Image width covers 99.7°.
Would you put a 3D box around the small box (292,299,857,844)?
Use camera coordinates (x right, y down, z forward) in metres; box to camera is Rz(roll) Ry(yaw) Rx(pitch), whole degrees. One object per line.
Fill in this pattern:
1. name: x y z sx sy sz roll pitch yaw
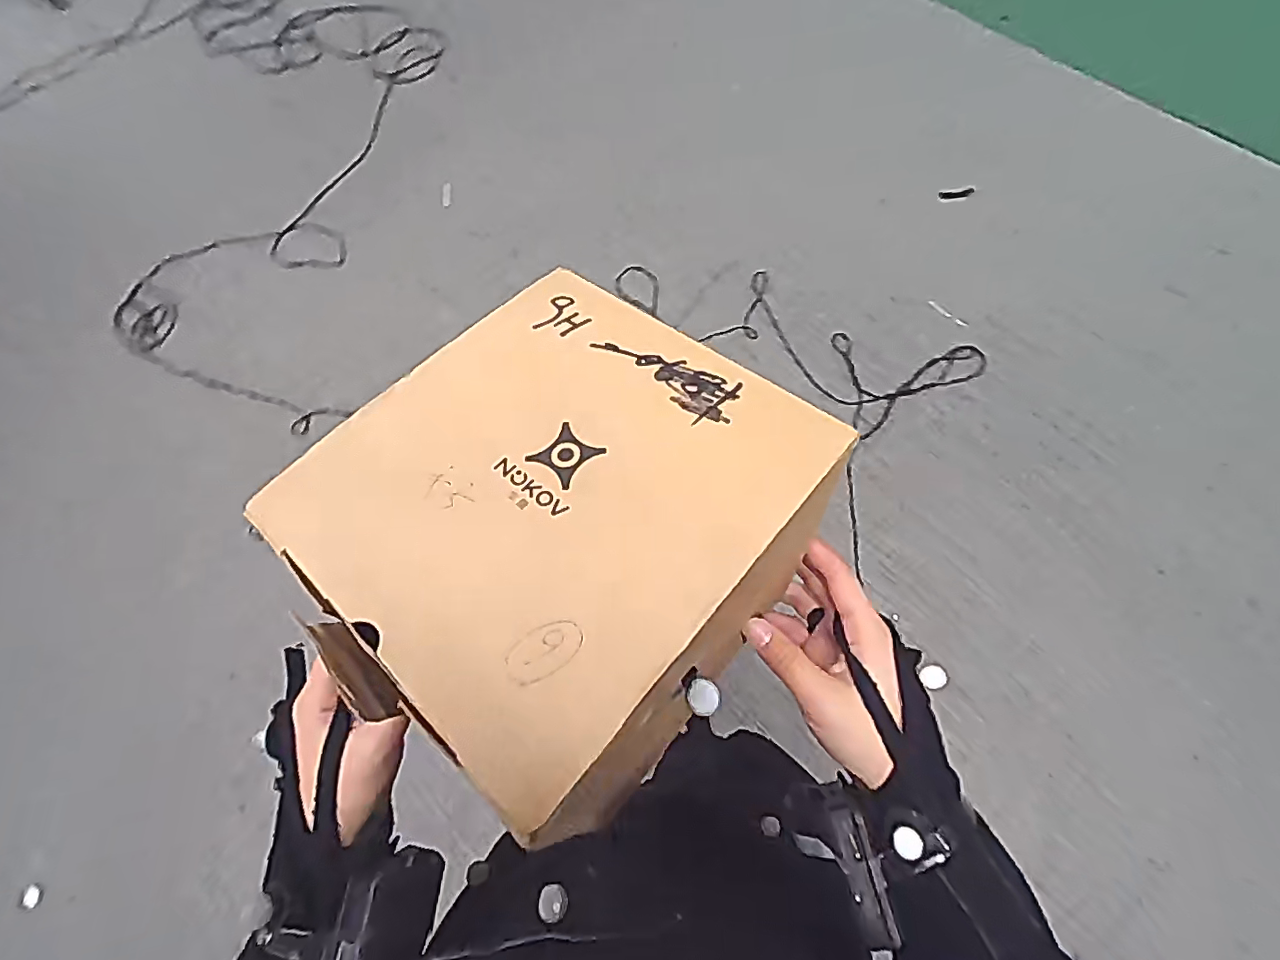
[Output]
1. small box: -0.021 0.049 0.286 0.168 0.176 0.179 36 68 22
